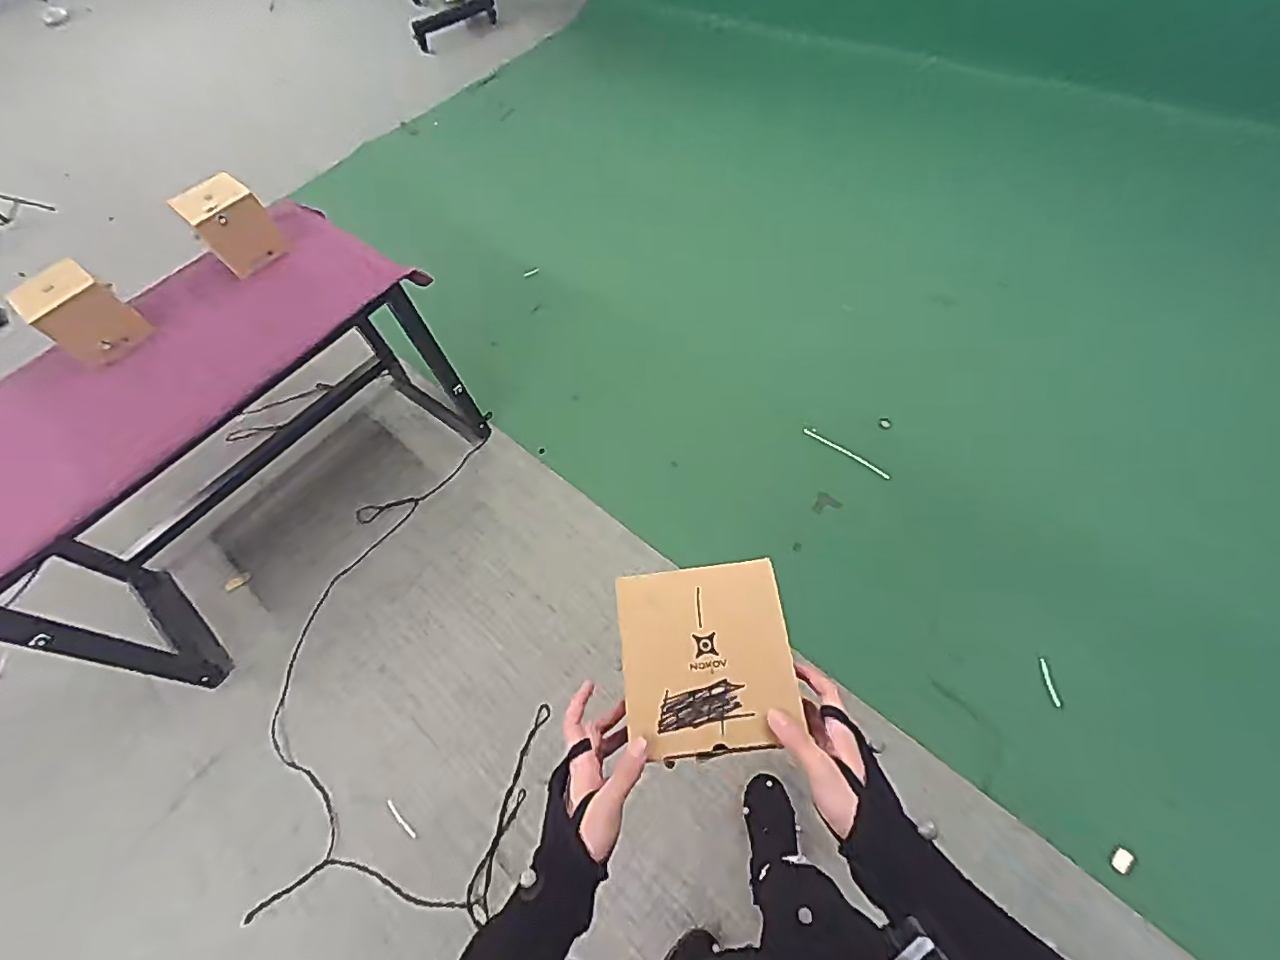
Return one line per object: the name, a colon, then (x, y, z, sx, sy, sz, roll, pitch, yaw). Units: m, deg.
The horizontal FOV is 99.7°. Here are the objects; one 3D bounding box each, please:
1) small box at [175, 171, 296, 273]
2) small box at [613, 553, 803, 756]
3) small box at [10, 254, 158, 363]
small box: (-1.090, -0.695, 1.468, 0.179, 0.176, 0.168, 37, 71, 26)
small box: (0.066, 0.195, 0.594, 0.168, 0.176, 0.179, -7, 64, 1)
small box: (-1.372, -0.421, 1.345, 0.179, 0.176, 0.168, 34, 70, 23)
